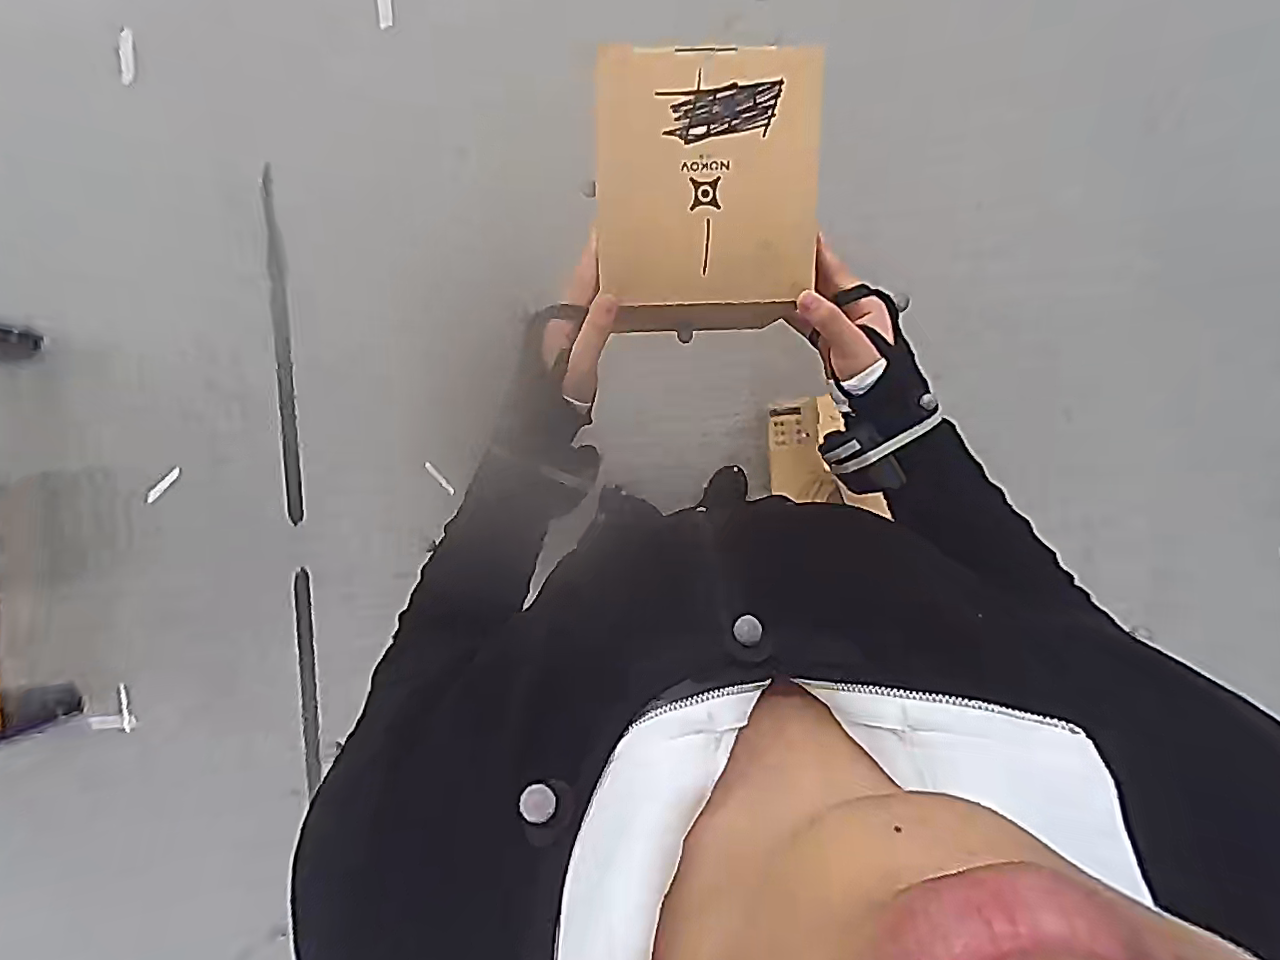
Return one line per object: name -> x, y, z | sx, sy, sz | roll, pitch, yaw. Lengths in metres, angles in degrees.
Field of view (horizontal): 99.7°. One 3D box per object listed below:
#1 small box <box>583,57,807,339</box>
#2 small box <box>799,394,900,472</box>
small box -> 0.041, -0.228, 0.480 | 0.168, 0.176, 0.179 | -3, 99, 0
small box -> 0.487, -0.109, 1.275 | 0.179, 0.176, 0.168 | -4, 92, 4
